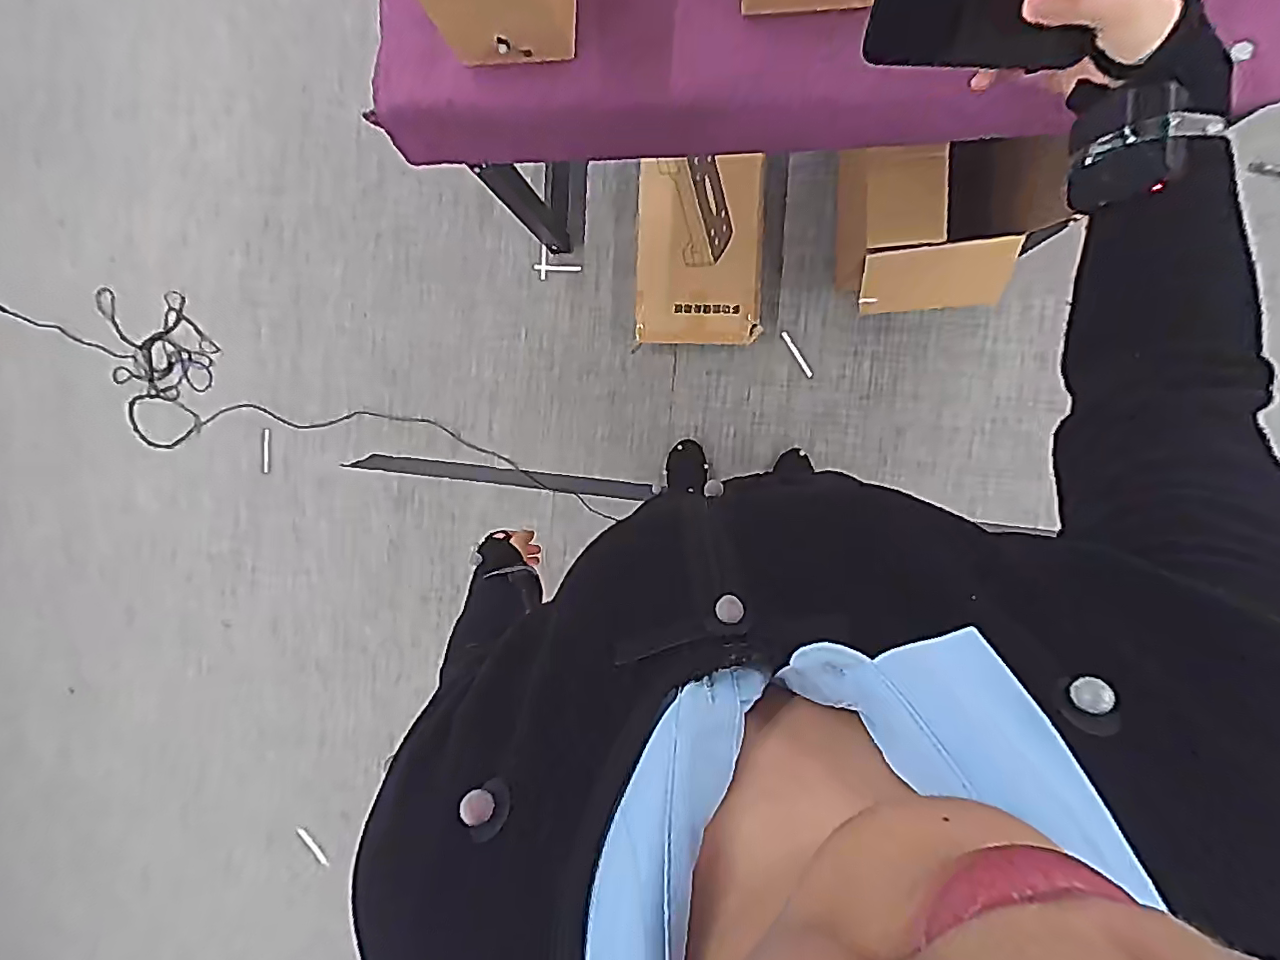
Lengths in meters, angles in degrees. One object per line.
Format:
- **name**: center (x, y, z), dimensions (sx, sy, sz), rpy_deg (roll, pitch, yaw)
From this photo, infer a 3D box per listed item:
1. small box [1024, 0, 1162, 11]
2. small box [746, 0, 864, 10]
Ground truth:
- **small box**: center (0.526, -0.634, 0.557), dimensions (0.179, 0.176, 0.168), rpy_deg (10, 96, 8)
- **small box**: center (0.213, -0.675, 0.601), dimensions (0.179, 0.176, 0.168), rpy_deg (3, 93, 9)
